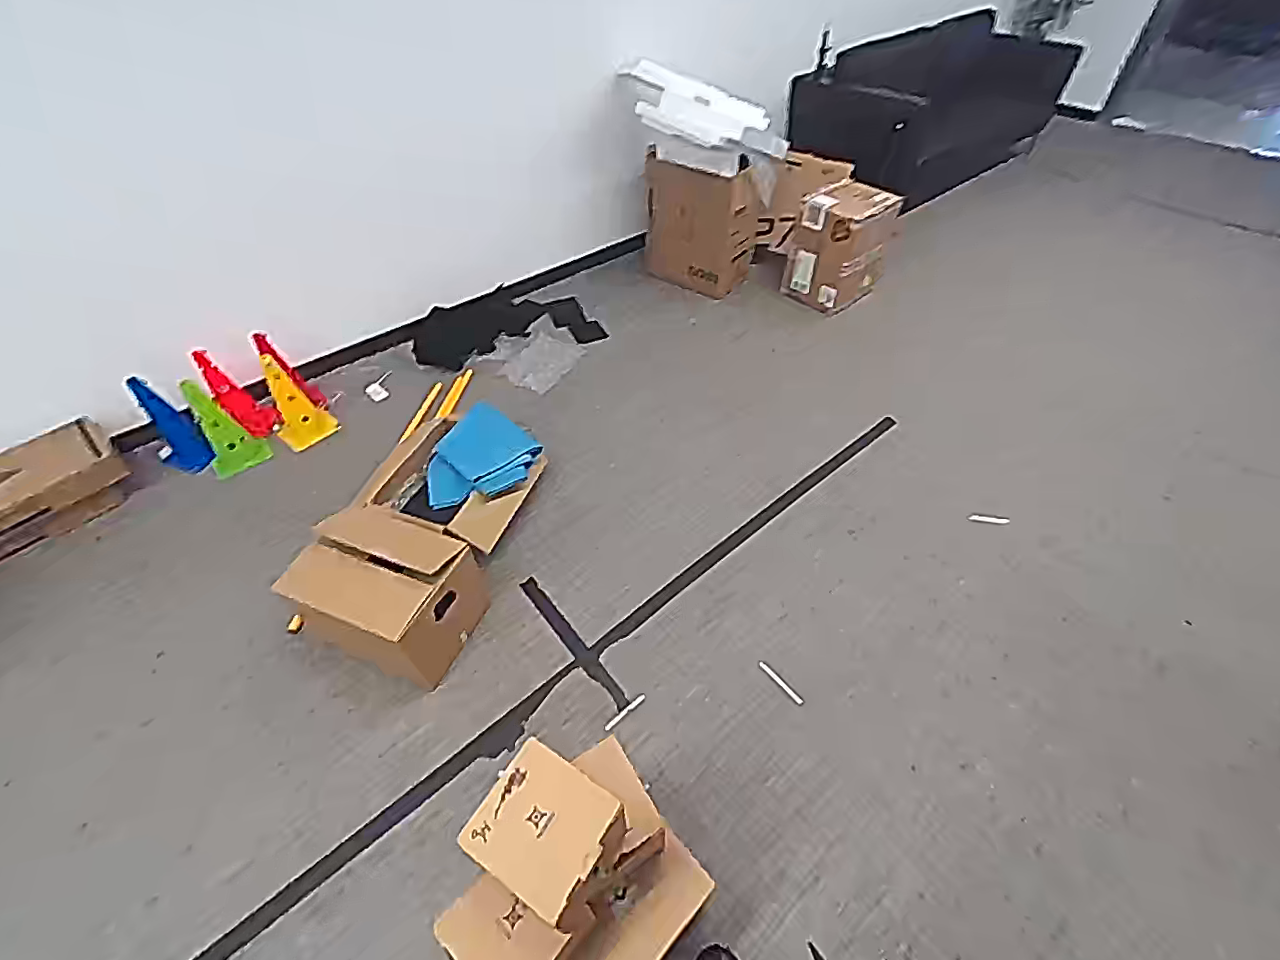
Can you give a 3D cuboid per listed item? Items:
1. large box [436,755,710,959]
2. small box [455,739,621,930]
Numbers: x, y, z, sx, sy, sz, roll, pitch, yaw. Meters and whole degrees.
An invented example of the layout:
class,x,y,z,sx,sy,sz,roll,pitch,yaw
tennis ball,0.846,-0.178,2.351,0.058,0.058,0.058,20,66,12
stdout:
class,x,y,z,sx,sy,sz,roll,pitch,yaw
large box,-0.115,0.857,1.071,0.408,0.320,0.320,-36,57,-29
small box,-0.141,0.534,0.817,0.179,0.176,0.168,25,52,21
